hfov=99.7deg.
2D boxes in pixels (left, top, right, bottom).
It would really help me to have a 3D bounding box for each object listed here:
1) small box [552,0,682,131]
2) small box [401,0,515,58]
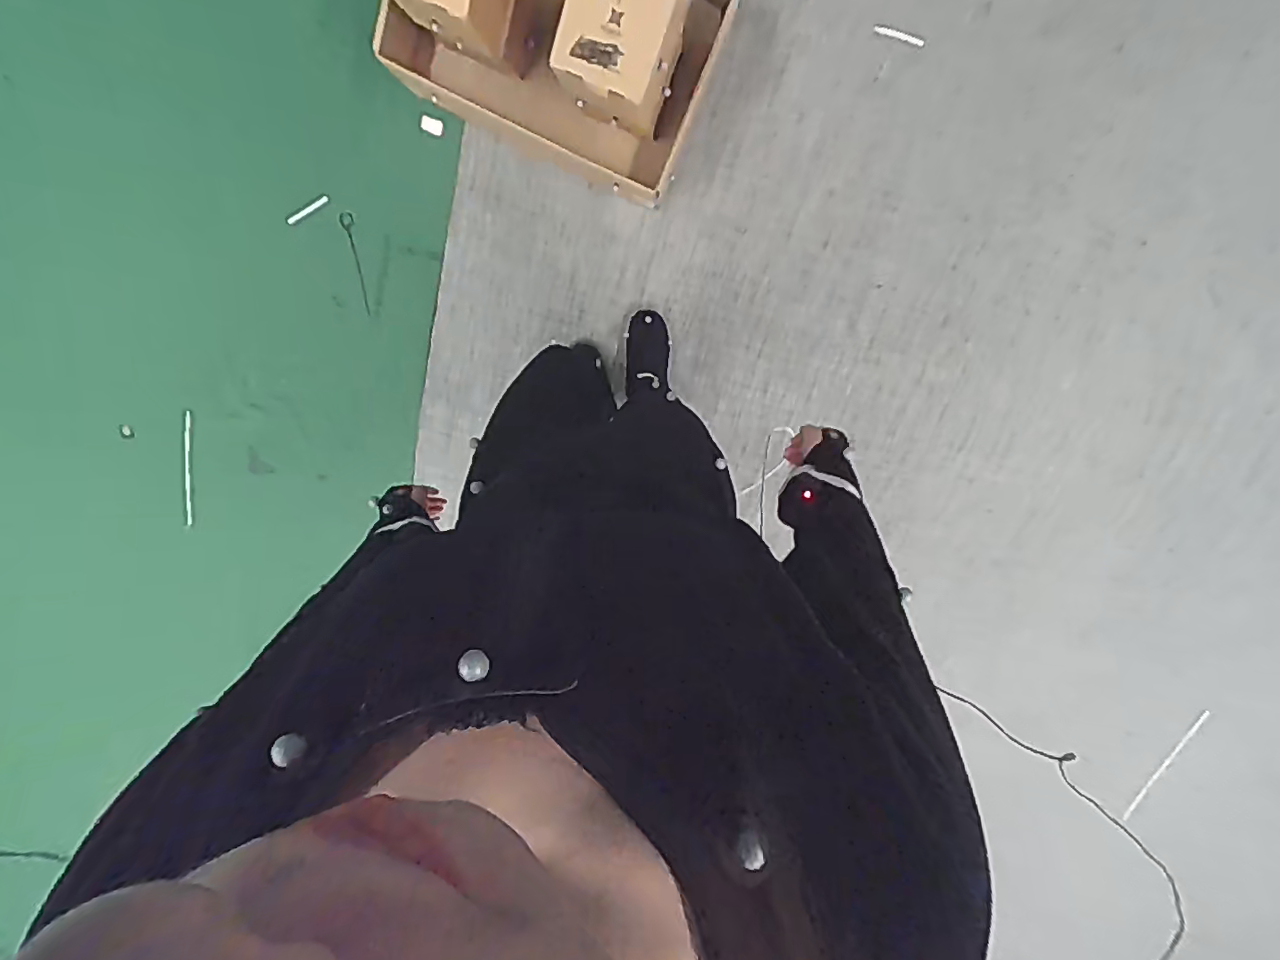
[{"bbox_3d":[-0.032,-0.742,0.933,0.168,0.176,0.179,22,109,-4],"label":"small box"},{"bbox_3d":[-0.312,-0.866,0.907,0.168,0.176,0.179,23,111,-6],"label":"small box"}]
